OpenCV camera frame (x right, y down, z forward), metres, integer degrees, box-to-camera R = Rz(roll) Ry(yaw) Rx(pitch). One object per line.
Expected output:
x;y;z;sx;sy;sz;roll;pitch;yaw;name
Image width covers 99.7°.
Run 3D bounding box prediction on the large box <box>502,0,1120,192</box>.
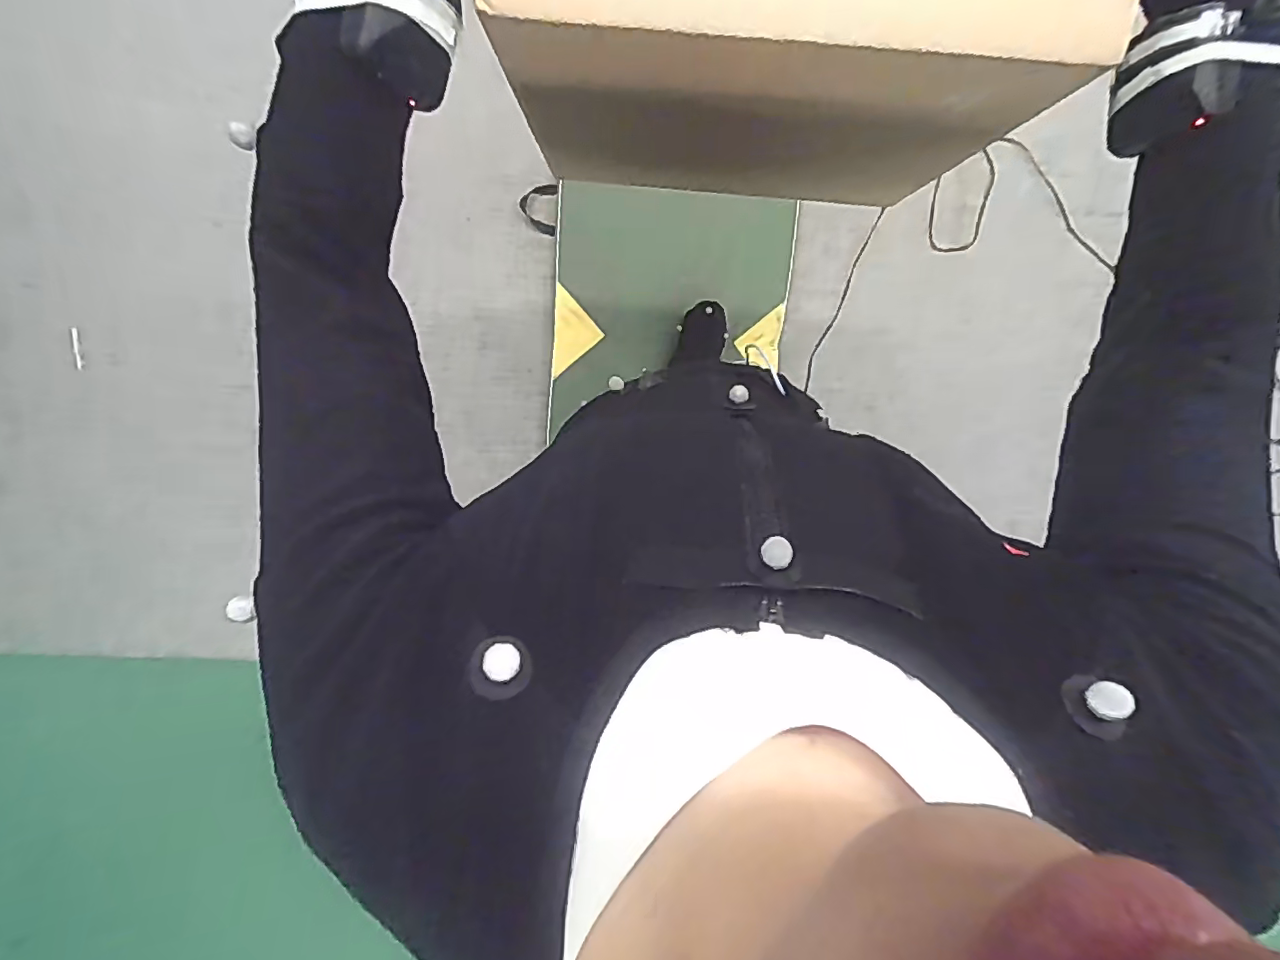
0.112;-0.465;0.461;0.408;0.320;0.320;3;103;-2;large box
